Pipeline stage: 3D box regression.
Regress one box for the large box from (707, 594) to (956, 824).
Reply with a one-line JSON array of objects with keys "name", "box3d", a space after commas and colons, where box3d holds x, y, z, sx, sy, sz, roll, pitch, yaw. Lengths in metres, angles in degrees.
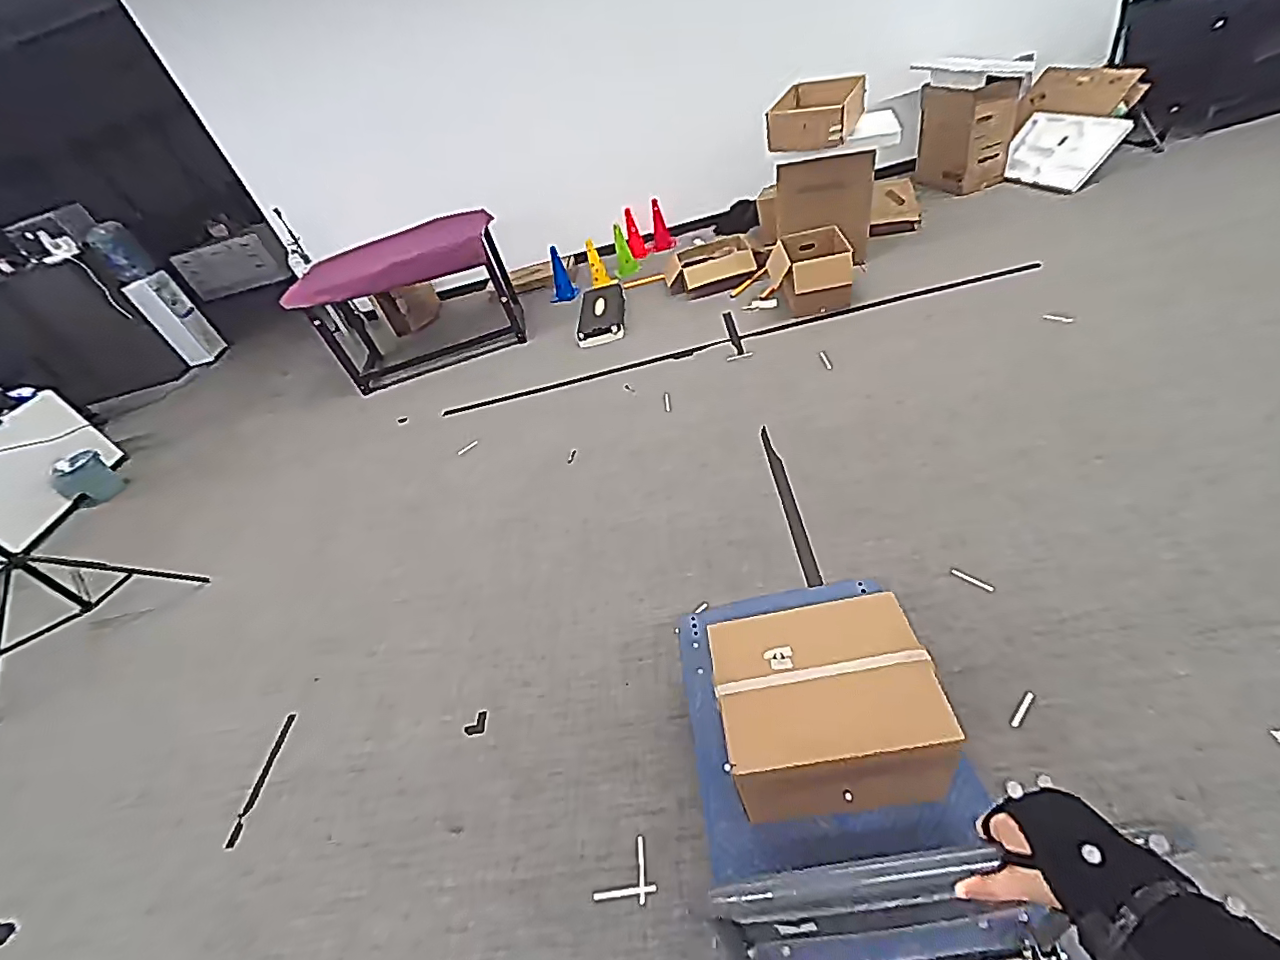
[{"name": "large box", "box3d": [0.390, 0.499, 1.168, 0.408, 0.320, 0.320, -14, 40, 7]}]
